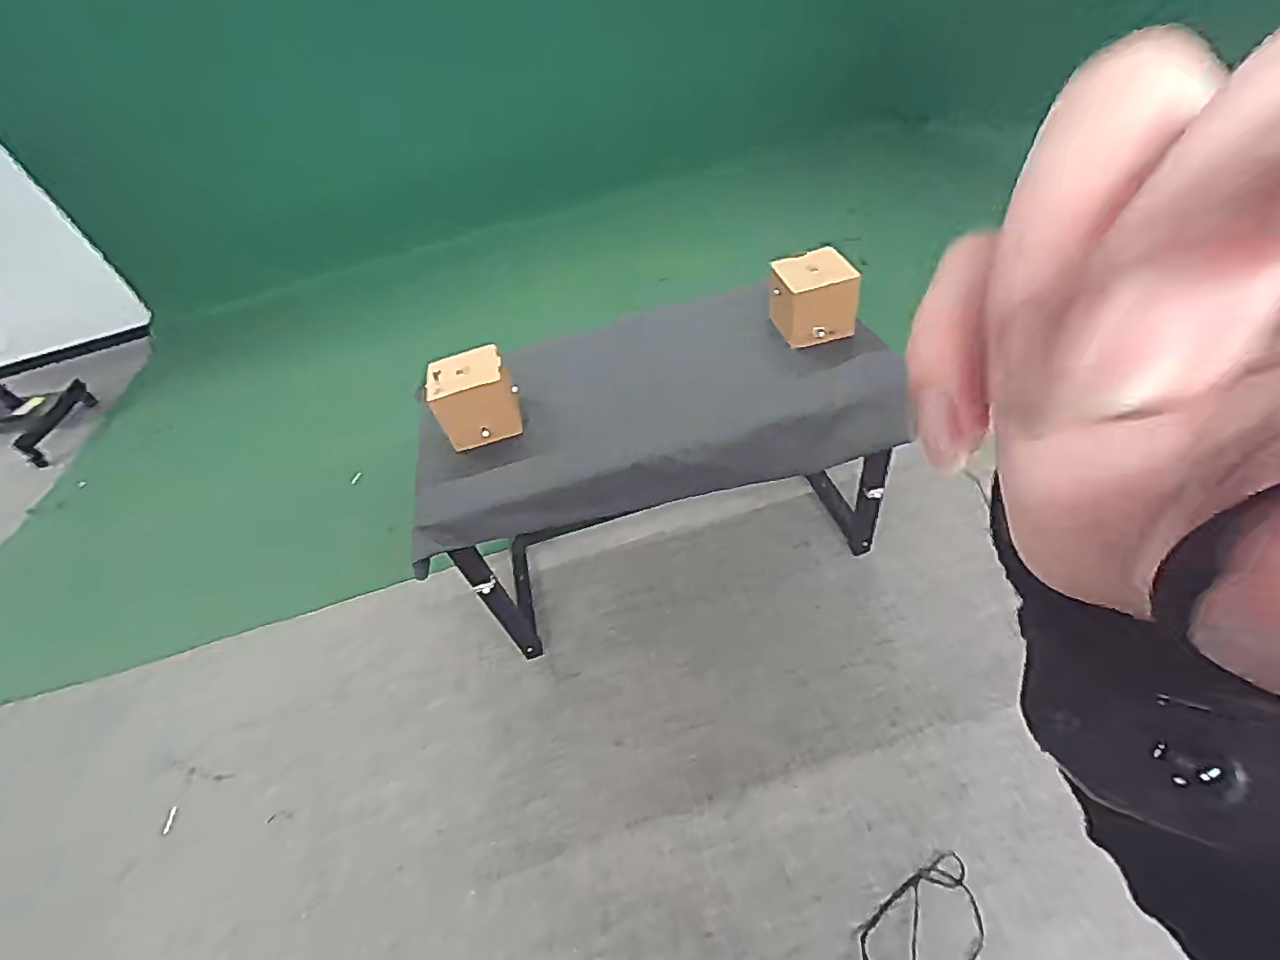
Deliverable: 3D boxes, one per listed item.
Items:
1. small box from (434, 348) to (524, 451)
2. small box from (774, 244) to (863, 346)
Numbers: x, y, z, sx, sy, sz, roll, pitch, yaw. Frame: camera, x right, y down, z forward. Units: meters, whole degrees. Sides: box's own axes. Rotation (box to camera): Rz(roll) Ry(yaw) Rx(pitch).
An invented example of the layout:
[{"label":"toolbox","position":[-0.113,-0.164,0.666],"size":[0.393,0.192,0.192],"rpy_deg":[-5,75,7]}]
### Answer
[{"label":"small box","position":[-0.397,-0.199,1.356],"size":[0.179,0.176,0.168],"rpy_deg":[-16,46,-4]},{"label":"small box","position":[0.448,-0.471,1.384],"size":[0.168,0.176,0.179],"rpy_deg":[-14,47,4]}]
